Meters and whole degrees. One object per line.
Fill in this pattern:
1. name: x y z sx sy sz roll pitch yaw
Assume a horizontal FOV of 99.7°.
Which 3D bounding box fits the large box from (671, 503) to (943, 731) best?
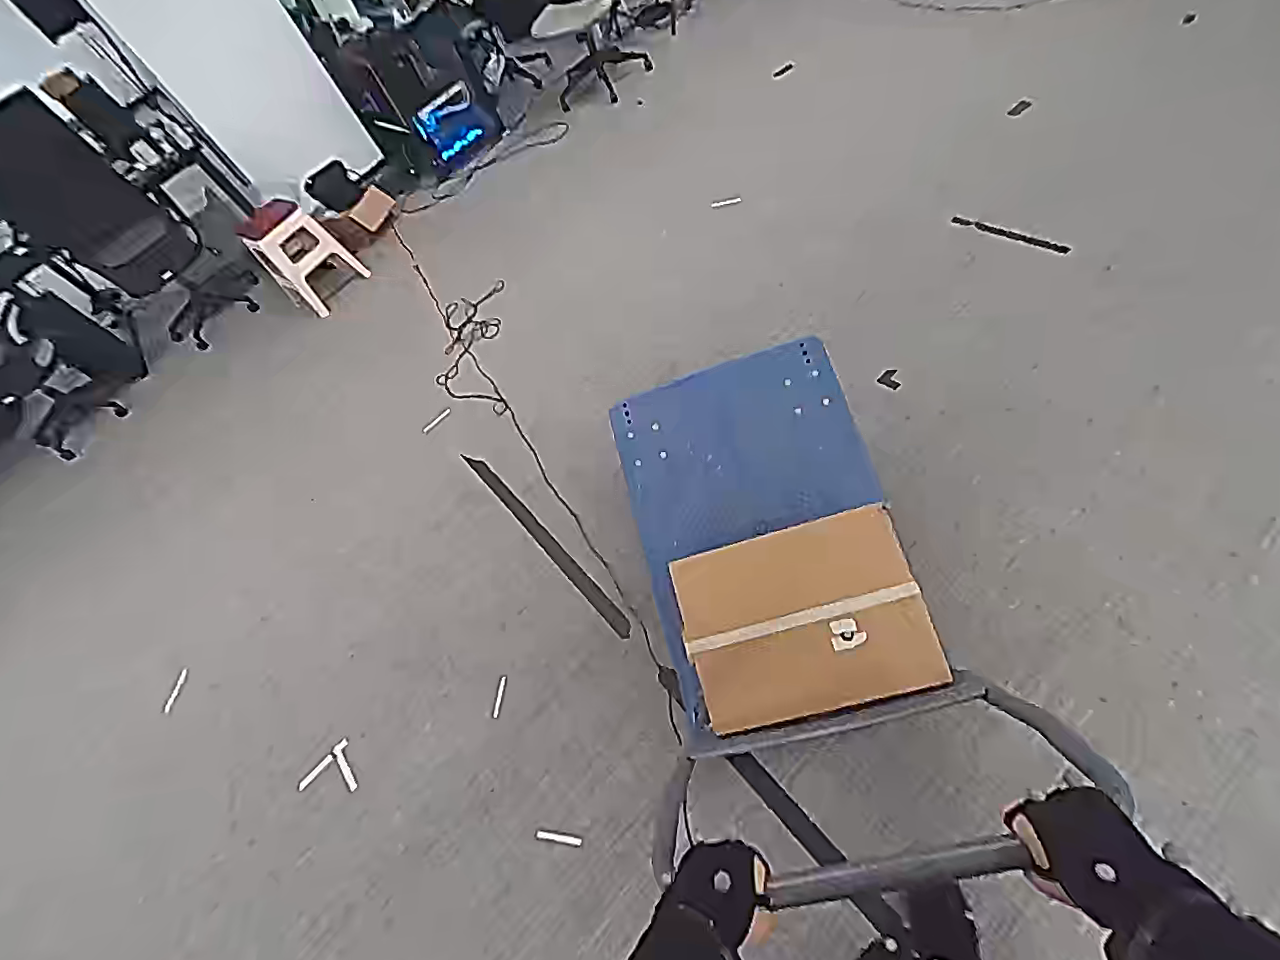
1. large box: 0.313 0.278 1.108 0.408 0.320 0.320 -18 74 8
